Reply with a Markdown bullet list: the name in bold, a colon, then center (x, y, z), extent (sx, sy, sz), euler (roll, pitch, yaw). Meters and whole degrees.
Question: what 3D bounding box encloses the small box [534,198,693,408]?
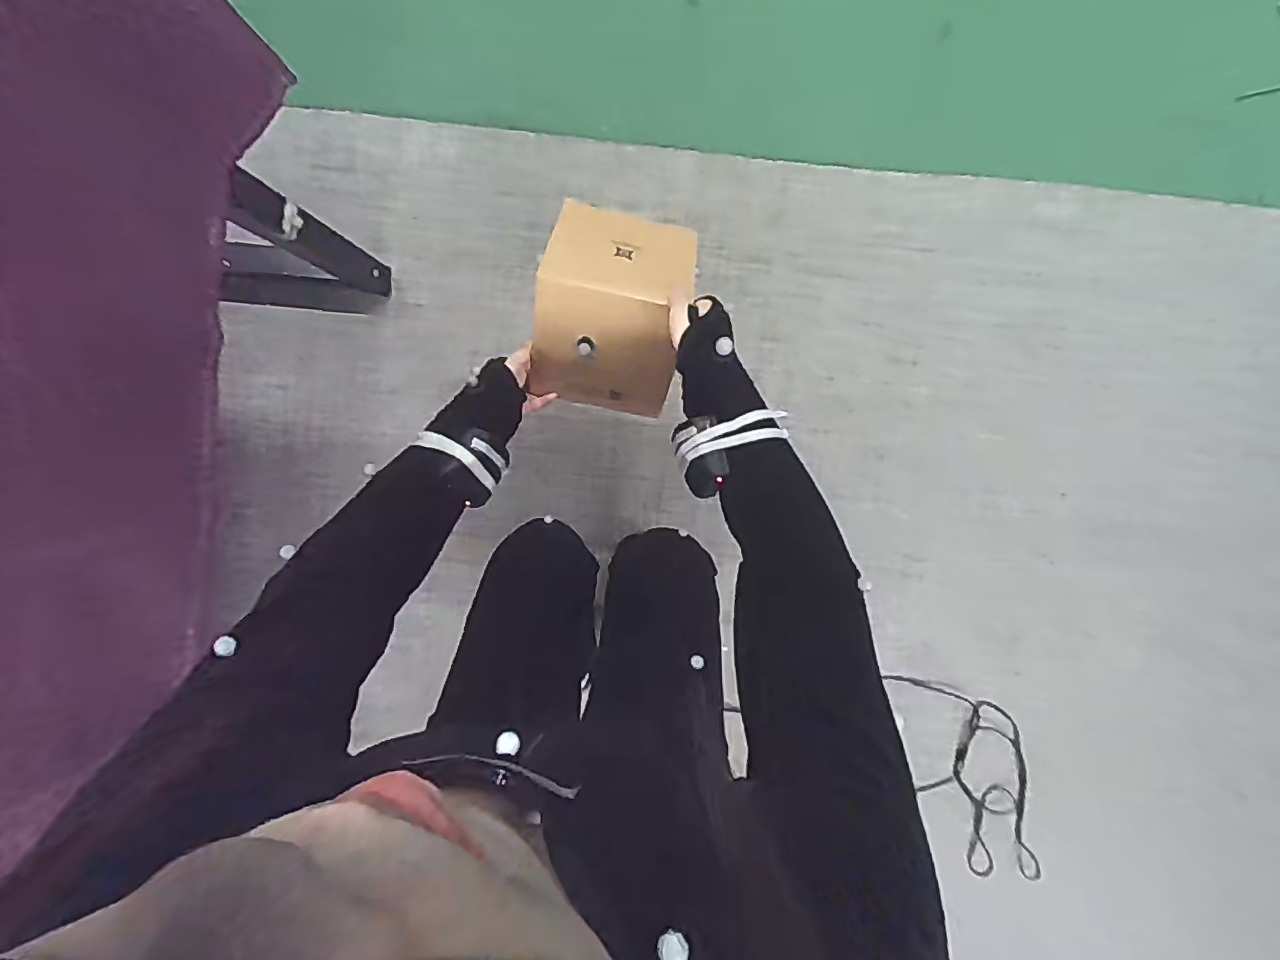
- **small box**: center (-0.036, -0.215, 0.676), extent (0.168, 0.179, 0.176), euler (11, 140, -6)
